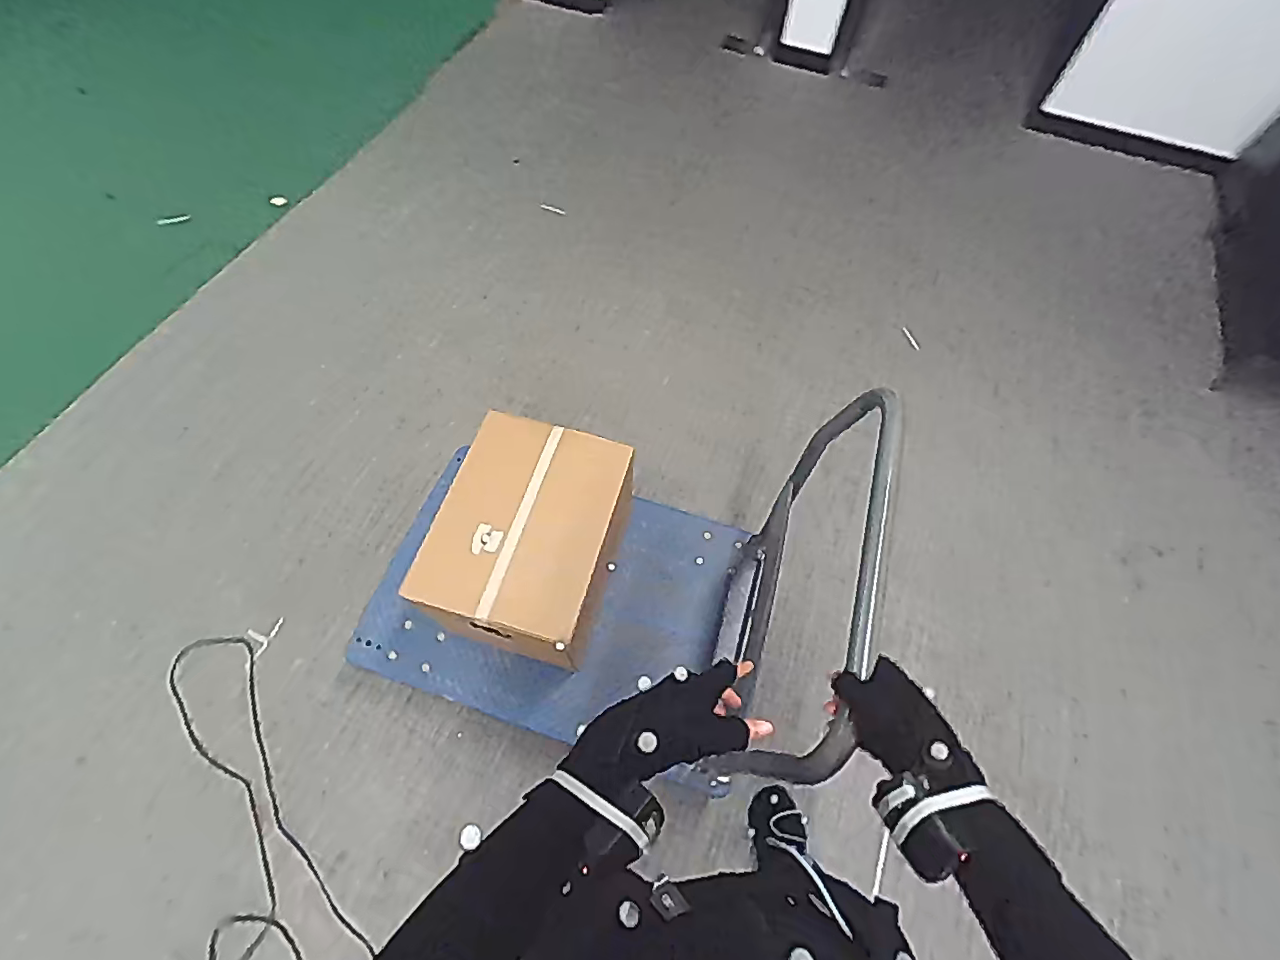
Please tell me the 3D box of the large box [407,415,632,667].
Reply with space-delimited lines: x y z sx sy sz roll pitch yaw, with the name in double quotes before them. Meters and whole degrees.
"large box" -0.217 0.137 1.149 0.320 0.320 0.408 15 64 7
